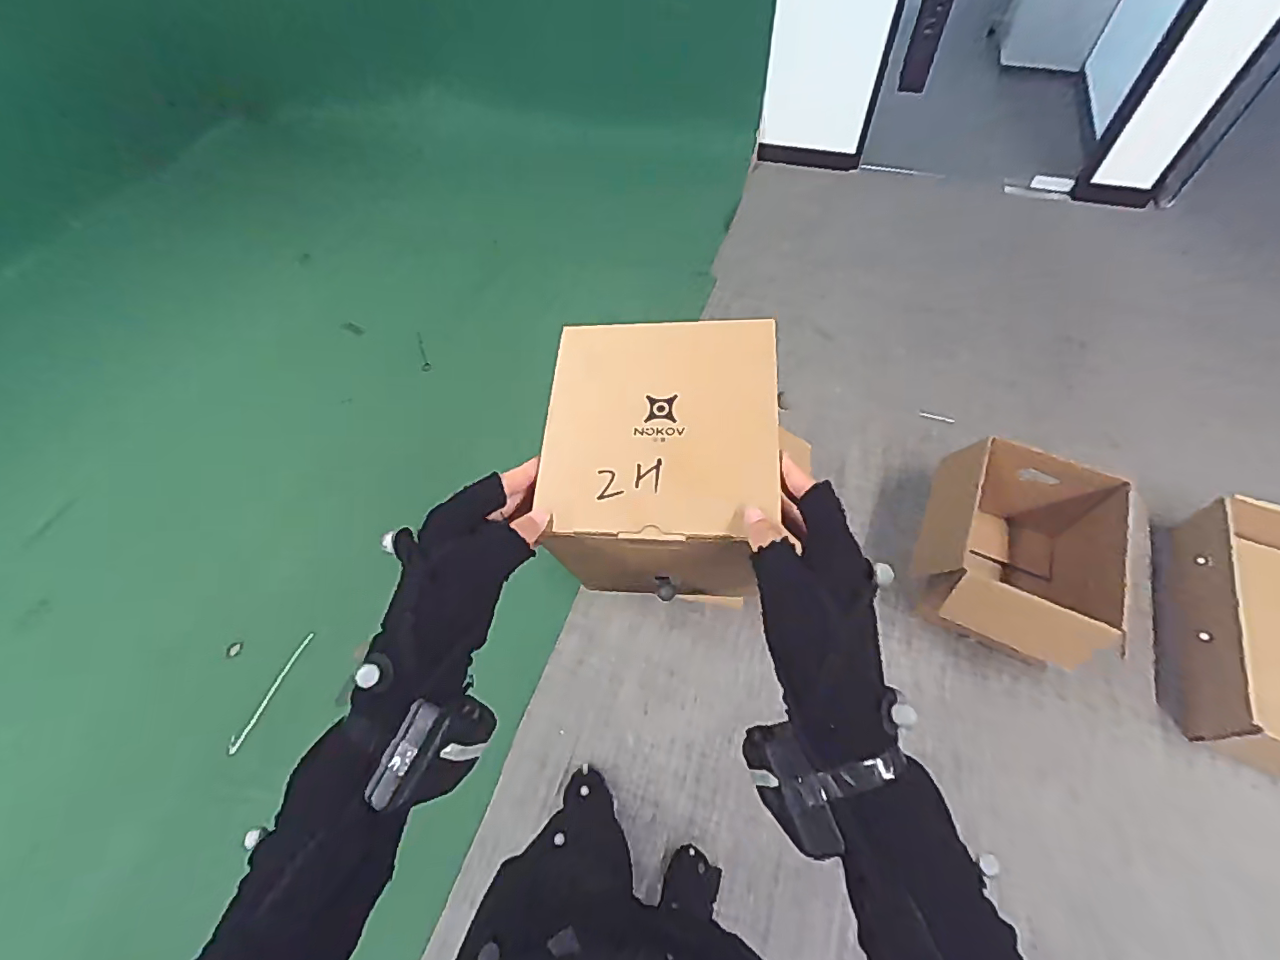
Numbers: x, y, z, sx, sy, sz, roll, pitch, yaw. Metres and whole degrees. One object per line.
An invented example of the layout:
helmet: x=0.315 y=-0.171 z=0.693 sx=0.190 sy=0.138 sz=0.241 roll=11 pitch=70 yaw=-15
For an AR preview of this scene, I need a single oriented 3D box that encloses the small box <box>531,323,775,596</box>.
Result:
small box: x=0.023 y=-0.011 z=0.462 sx=0.168 sy=0.176 sz=0.179 roll=1 pitch=65 yaw=9
